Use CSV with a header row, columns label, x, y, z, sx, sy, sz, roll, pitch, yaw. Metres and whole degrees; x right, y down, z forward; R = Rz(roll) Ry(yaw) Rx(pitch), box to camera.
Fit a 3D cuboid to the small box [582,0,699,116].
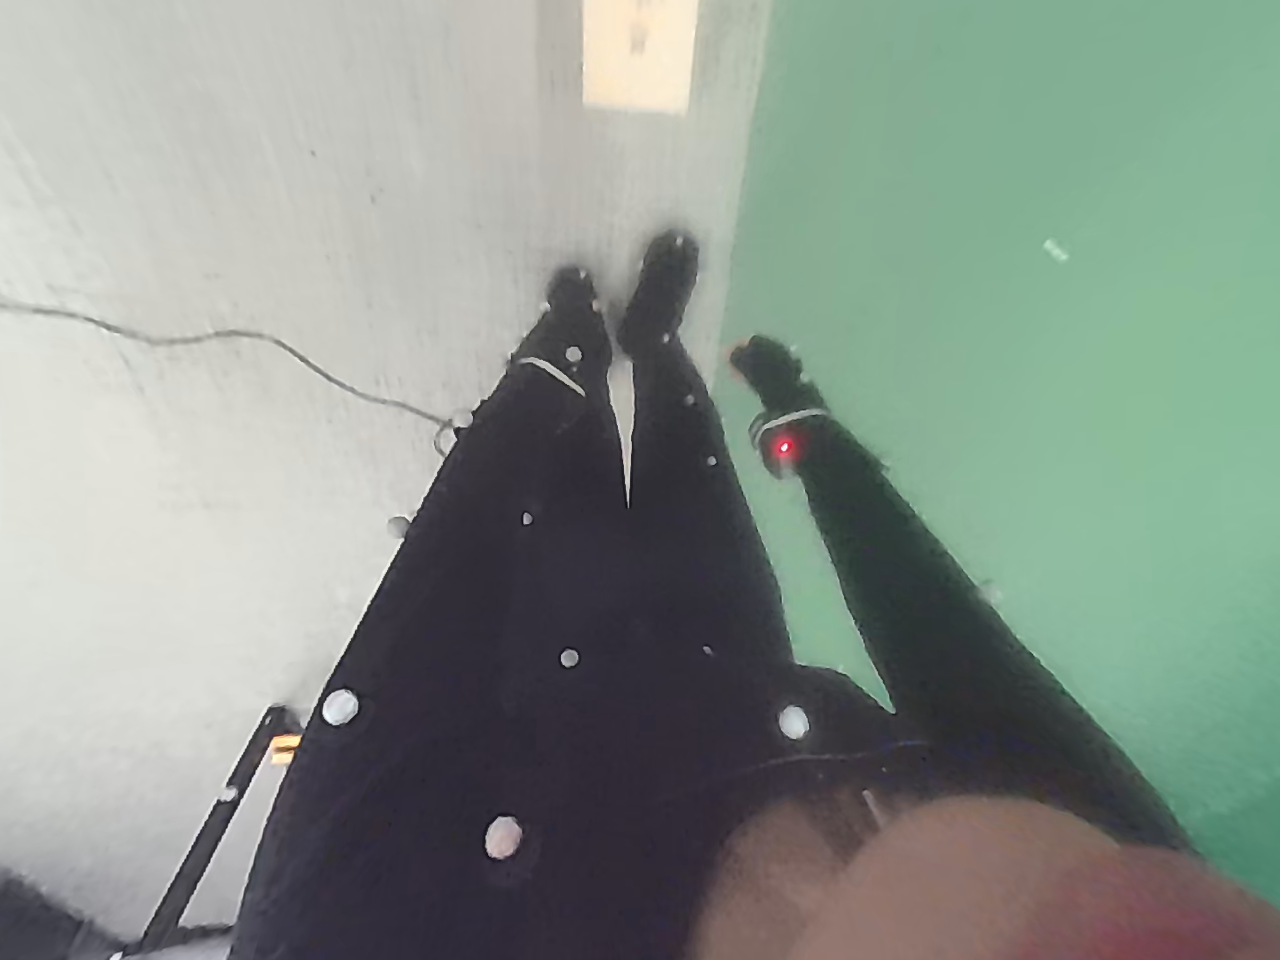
label,x,y,z,sx,sy,sz,roll,pitch,yaw
small box,-0.004,-0.688,0.848,0.168,0.176,0.179,1,127,-5
